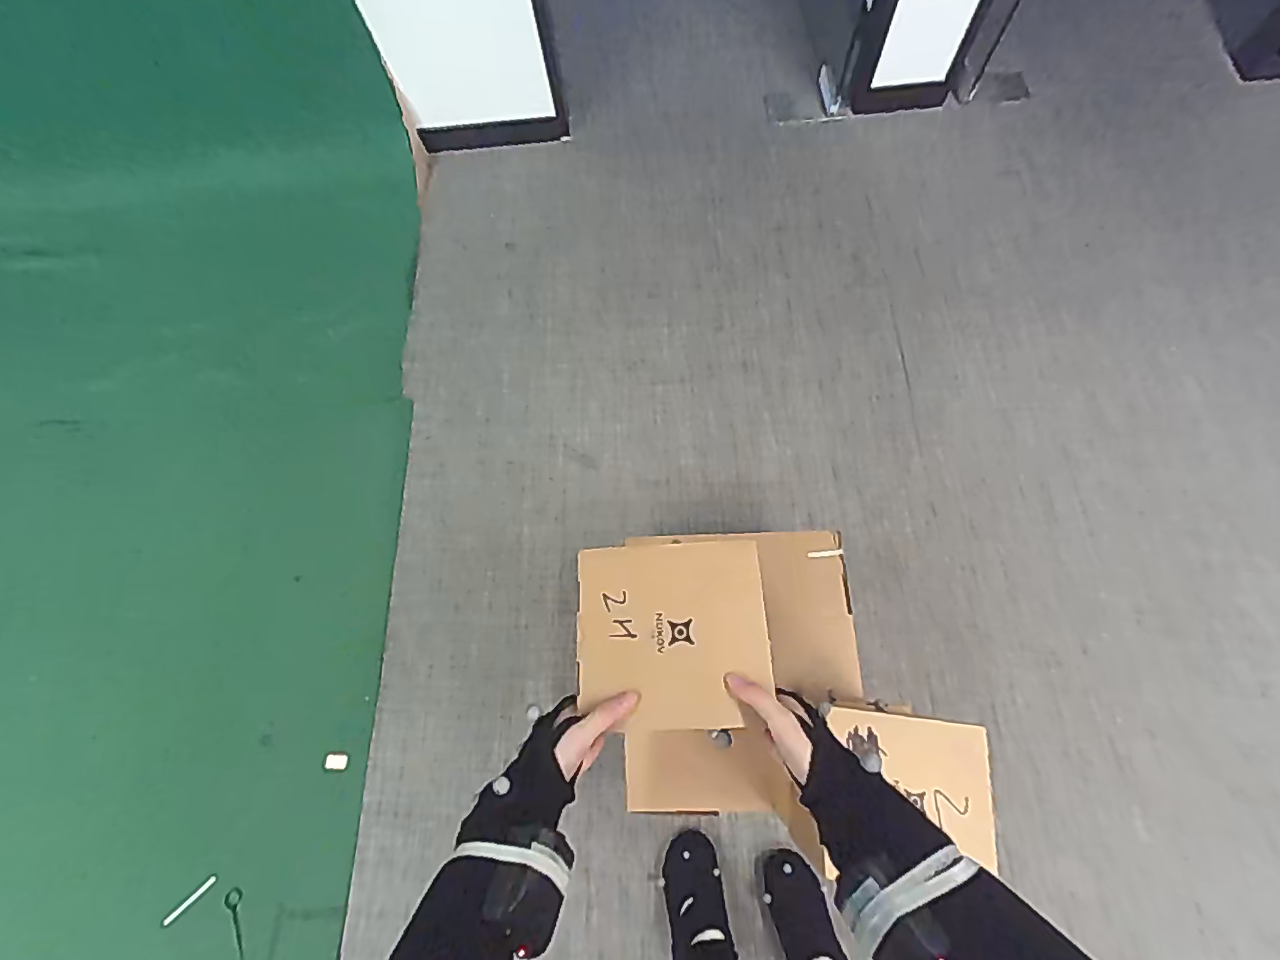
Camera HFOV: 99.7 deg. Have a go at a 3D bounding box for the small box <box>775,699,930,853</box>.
[{"bbox_3d":[0.297,0.422,0.797,0.168,0.176,0.179,0,69,5],"label":"small box"}]

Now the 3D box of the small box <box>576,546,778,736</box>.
[{"bbox_3d":[0.035,0.172,0.566,0.179,0.176,0.168,-4,66,4],"label":"small box"}]
